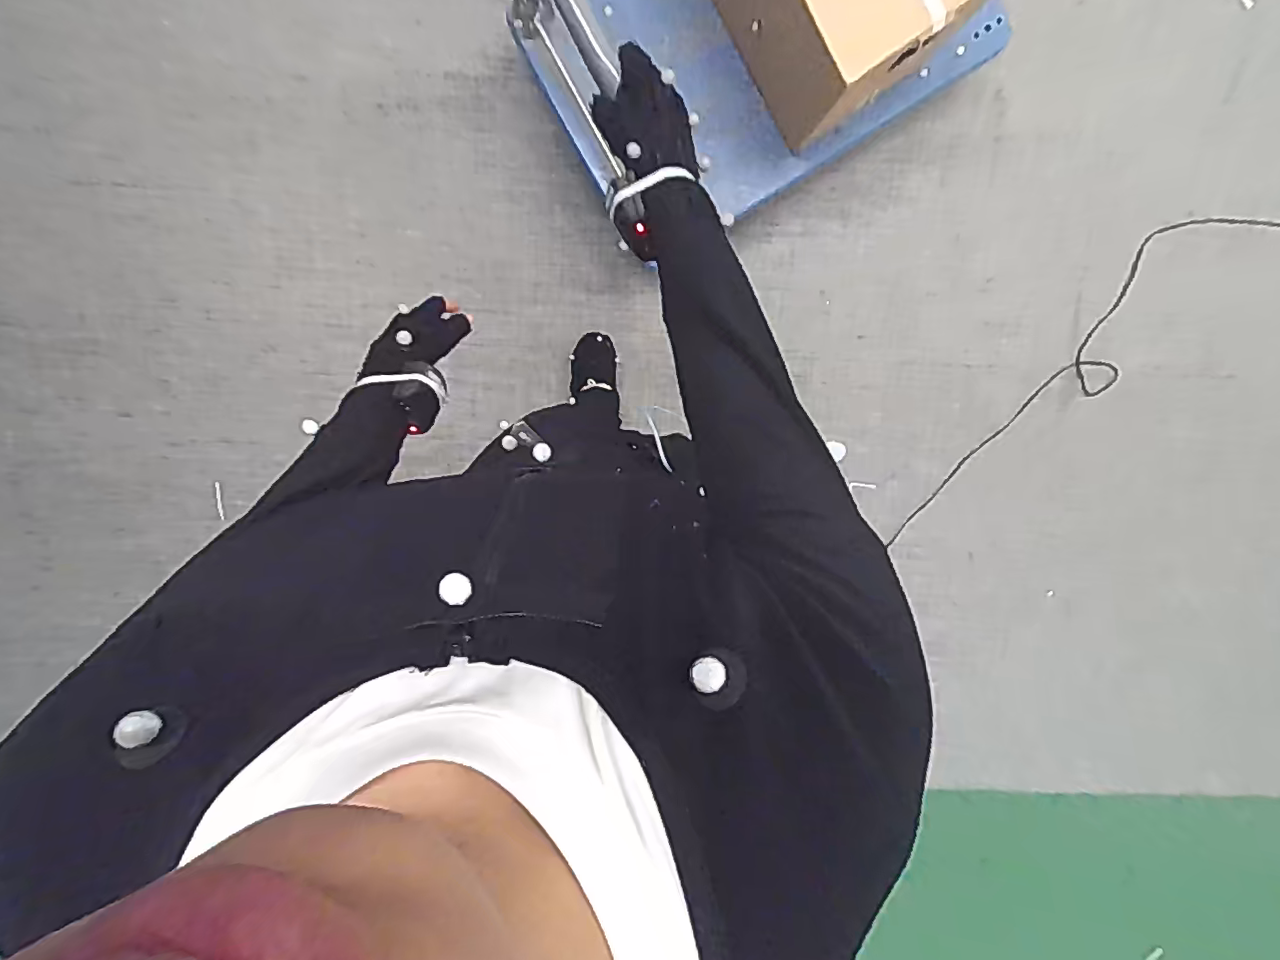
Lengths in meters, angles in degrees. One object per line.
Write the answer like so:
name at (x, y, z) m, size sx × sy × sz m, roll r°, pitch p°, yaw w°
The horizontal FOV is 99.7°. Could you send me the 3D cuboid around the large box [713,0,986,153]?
large box at (0.346, -0.893, 0.944) m, size 0.320 × 0.320 × 0.408 m, roll -32°, pitch 101°, yaw 6°
